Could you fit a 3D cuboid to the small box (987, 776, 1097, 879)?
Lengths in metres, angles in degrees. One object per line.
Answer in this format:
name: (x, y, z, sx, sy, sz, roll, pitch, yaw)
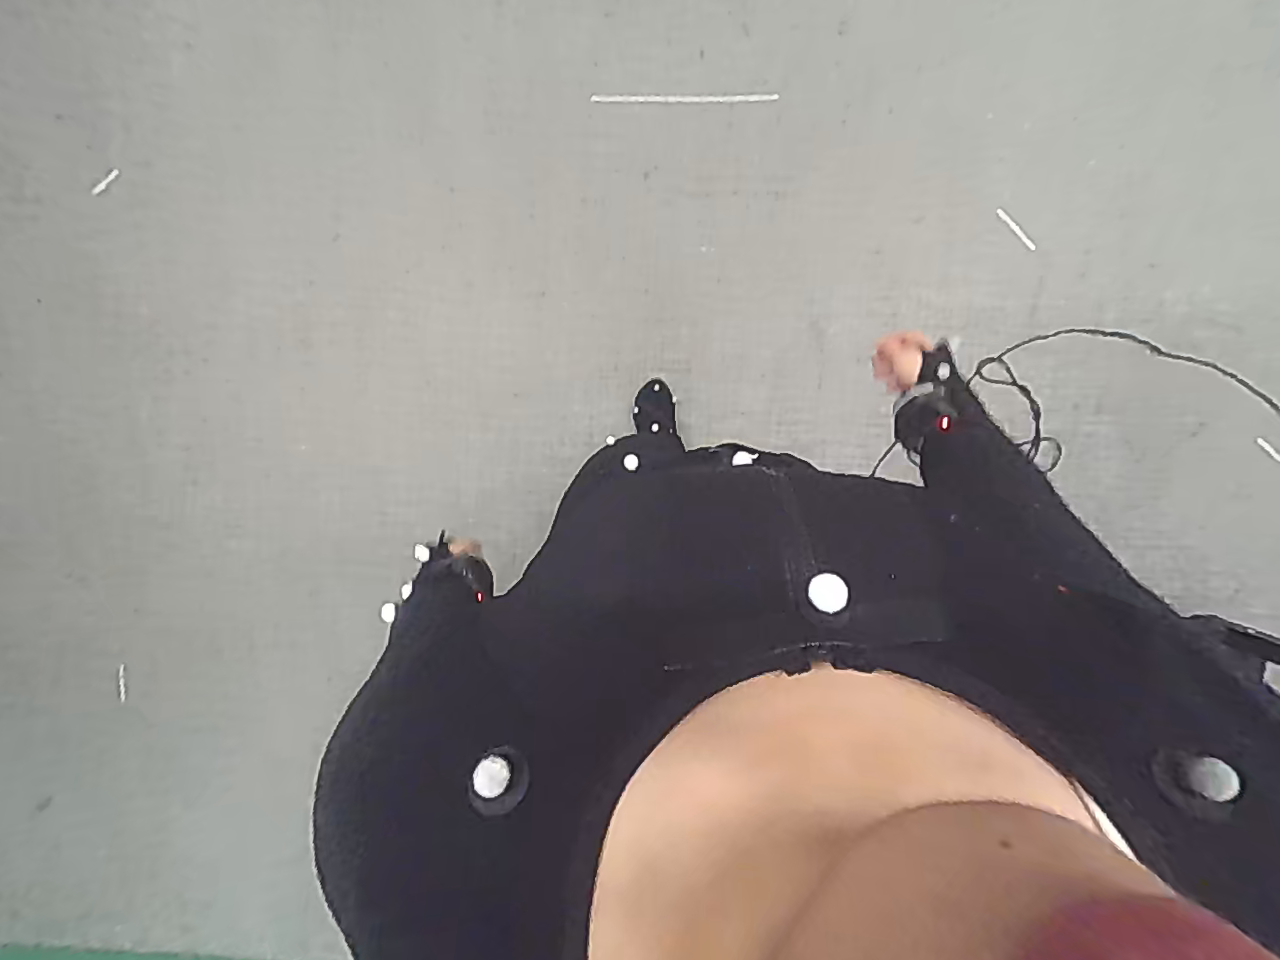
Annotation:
small box: (1.058, 0.916, 1.437, 0.179, 0.176, 0.168, -1, 95, 1)
